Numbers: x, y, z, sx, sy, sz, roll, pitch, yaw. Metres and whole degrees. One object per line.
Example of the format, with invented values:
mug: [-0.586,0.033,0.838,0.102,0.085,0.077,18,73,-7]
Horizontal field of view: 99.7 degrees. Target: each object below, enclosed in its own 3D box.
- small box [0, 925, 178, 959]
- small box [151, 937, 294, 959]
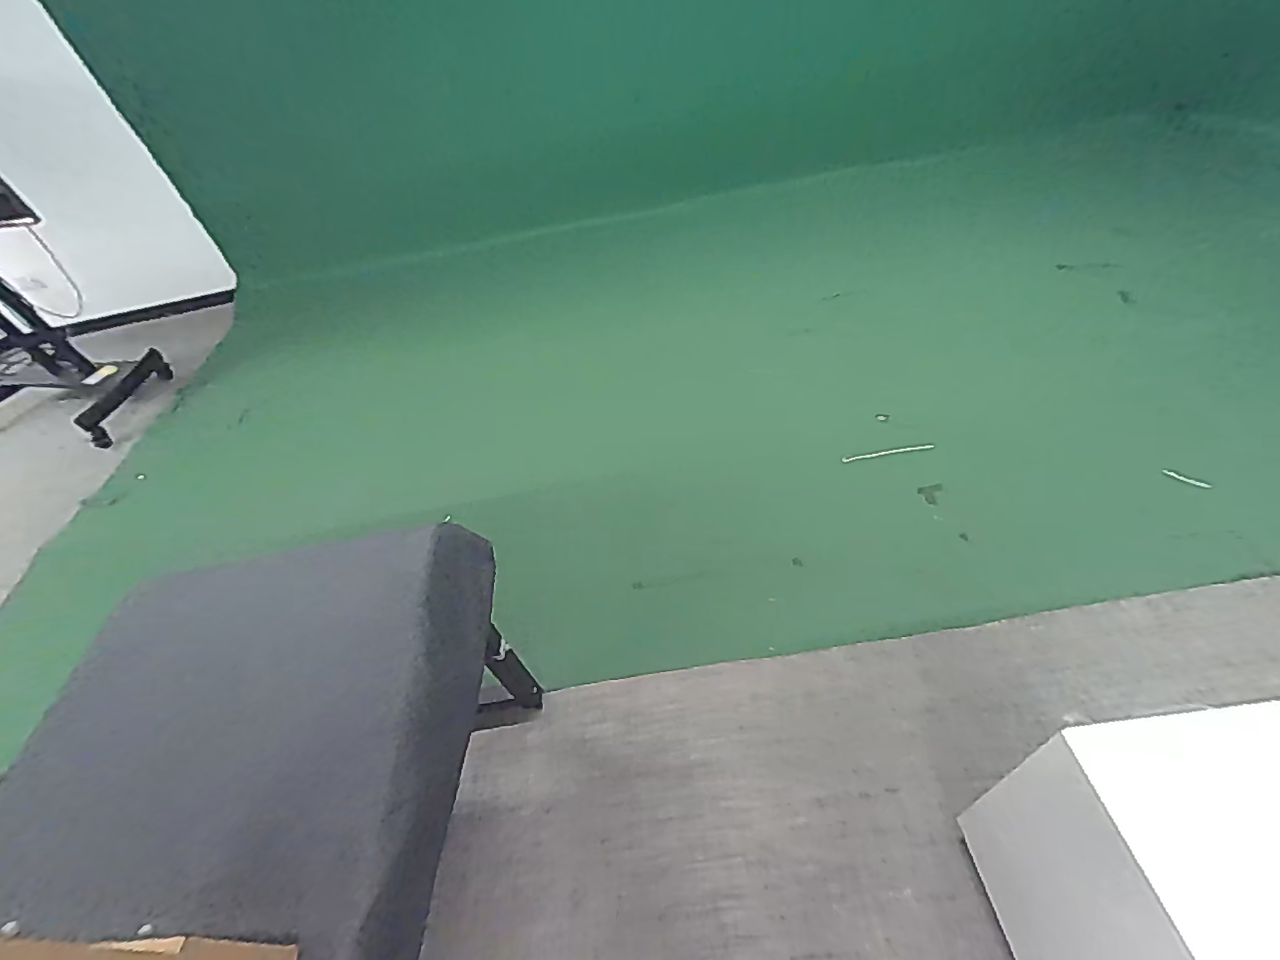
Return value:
small box: [-0.496,0.425,0.373,0.179,0.176,0.168,-10,46,7]
small box: [-0.462,0.535,0.491,0.168,0.176,0.179,-9,47,6]
